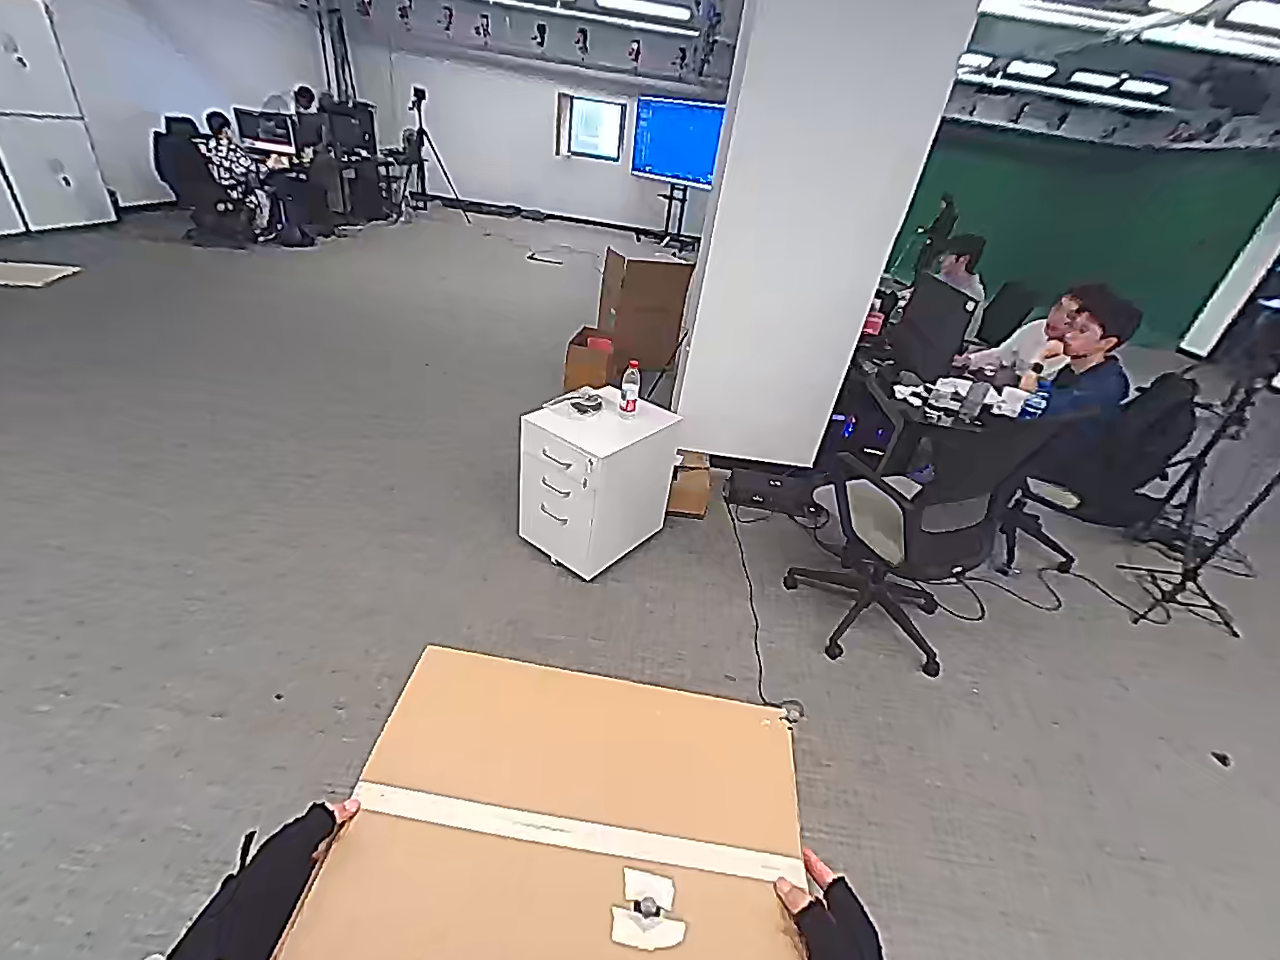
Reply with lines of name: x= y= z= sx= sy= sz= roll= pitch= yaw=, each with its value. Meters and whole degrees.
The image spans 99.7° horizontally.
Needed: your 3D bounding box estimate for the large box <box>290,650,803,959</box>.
large box: x=-0.076 y=0.432 z=0.586 sx=0.408 sy=0.320 sz=0.320 roll=11 pitch=39 yaw=0
